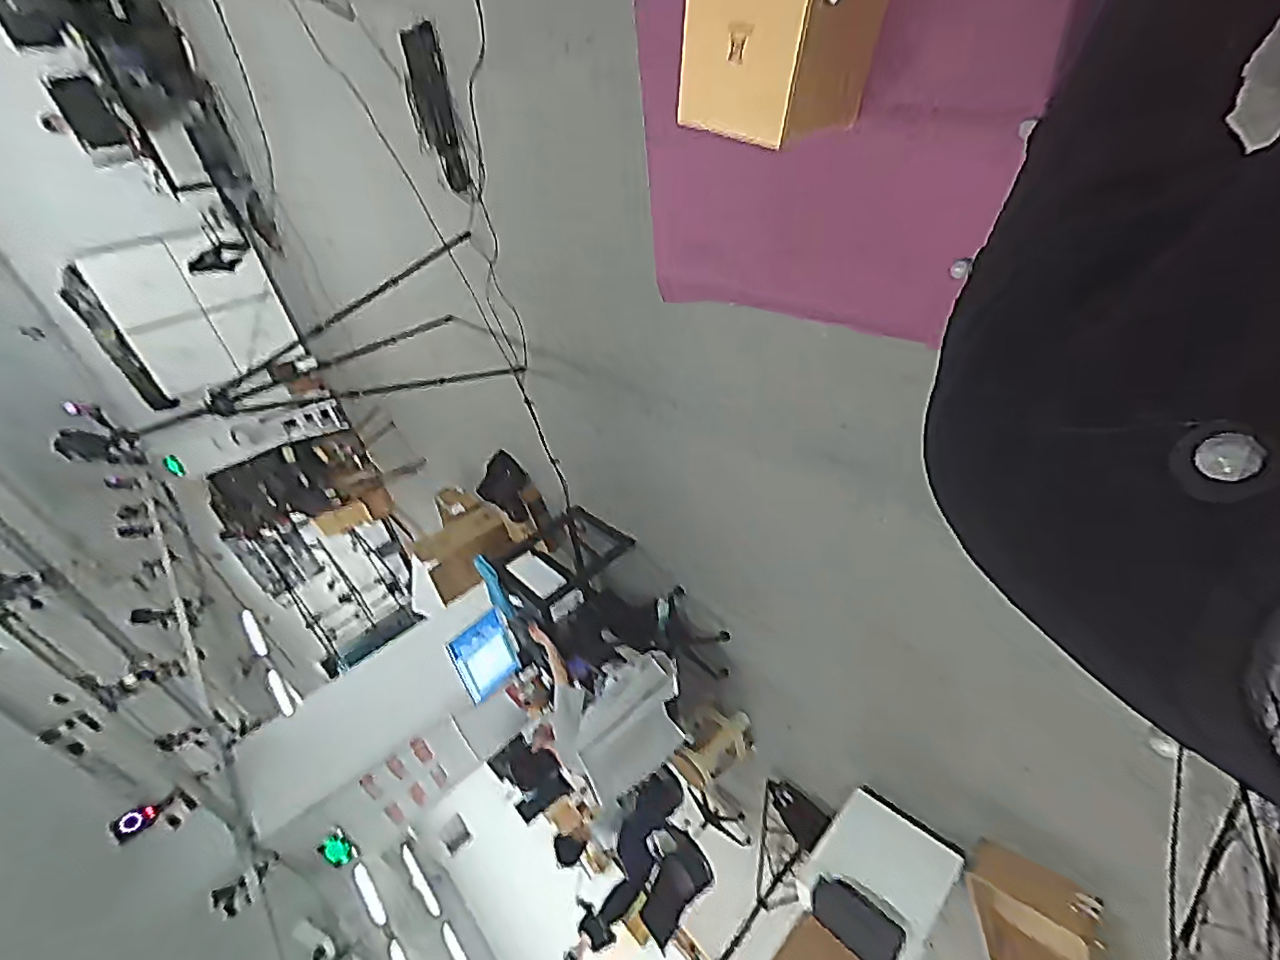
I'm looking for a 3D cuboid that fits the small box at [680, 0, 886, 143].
[{"bbox_3d":[0.171,-0.535,0.655,0.168,0.176,0.179,37,142,30],"label":"small box"}]
